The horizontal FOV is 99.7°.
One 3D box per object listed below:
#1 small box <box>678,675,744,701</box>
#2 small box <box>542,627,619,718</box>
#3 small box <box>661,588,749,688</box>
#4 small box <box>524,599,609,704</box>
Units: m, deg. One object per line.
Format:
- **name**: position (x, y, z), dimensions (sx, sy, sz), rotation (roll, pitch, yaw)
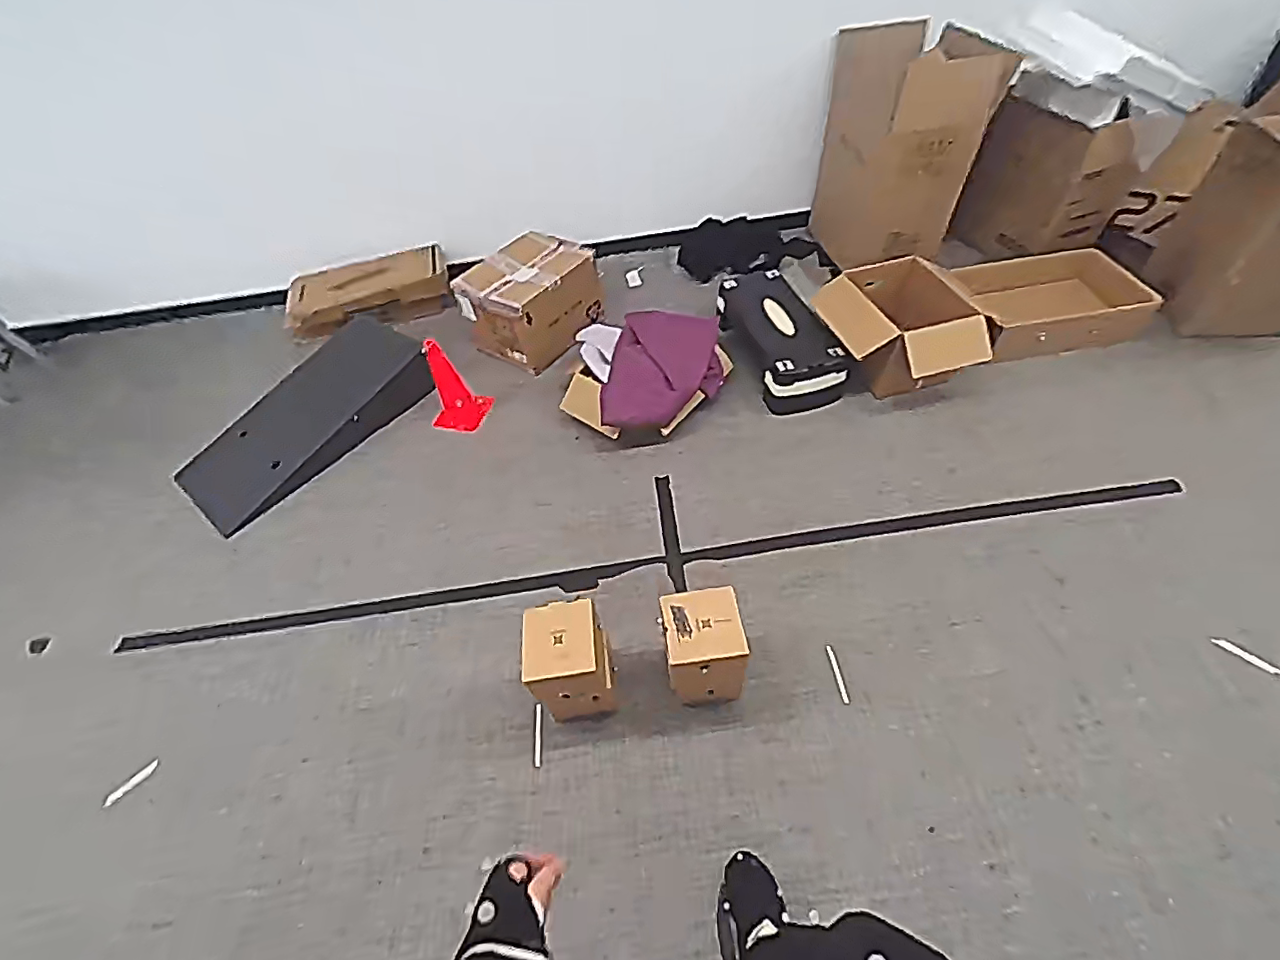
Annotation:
- **small box**: position (0.172, 0.463, 1.406), dimensions (0.168, 0.176, 0.179), rotation (-6, 52, 1)
- **small box**: position (-0.153, 0.505, 1.410), dimensions (0.179, 0.176, 0.168), rotation (-10, 51, 0)
- **small box**: position (0.149, 0.374, 1.267), dimensions (0.179, 0.176, 0.168), rotation (-8, 51, -1)
- **small box**: position (-0.171, 0.408, 1.280), dimensions (0.168, 0.176, 0.179), rotation (-10, 52, 1)
